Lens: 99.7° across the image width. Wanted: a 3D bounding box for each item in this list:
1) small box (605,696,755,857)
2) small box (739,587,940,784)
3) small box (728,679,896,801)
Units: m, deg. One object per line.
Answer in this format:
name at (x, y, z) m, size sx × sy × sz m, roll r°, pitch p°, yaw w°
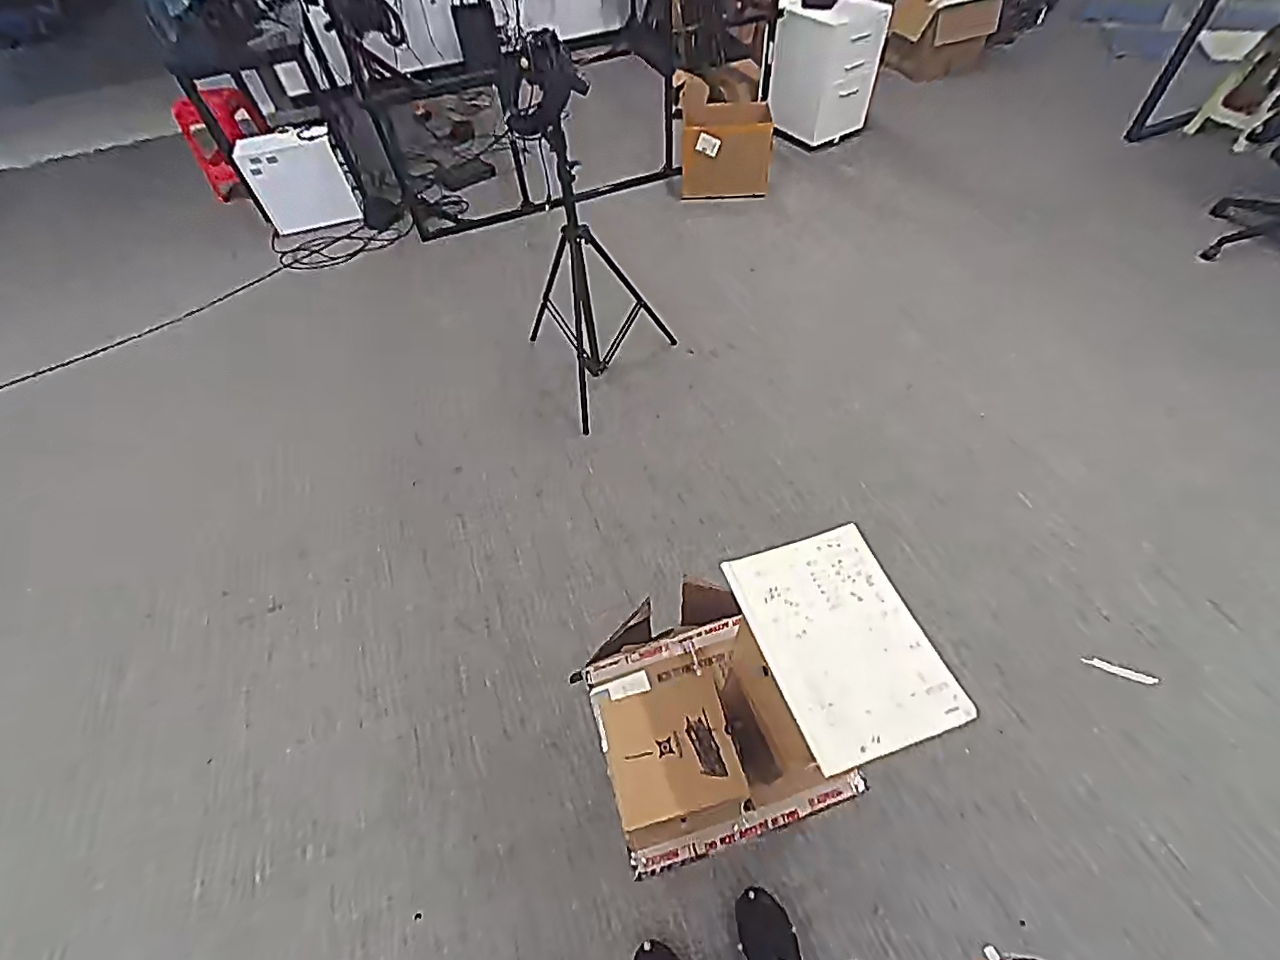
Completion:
small box at (0.054, 0.447, 0.816) m, size 0.179 × 0.176 × 0.168 m, roll -14°, pitch 56°, yaw -5°
small box at (0.247, 0.278, 0.726) m, size 0.168 × 0.176 × 0.179 m, roll -18°, pitch 55°, yaw -11°
small box at (0.257, 0.379, 0.853) m, size 0.179 × 0.176 × 0.168 m, roll -20°, pitch 56°, yaw -12°
